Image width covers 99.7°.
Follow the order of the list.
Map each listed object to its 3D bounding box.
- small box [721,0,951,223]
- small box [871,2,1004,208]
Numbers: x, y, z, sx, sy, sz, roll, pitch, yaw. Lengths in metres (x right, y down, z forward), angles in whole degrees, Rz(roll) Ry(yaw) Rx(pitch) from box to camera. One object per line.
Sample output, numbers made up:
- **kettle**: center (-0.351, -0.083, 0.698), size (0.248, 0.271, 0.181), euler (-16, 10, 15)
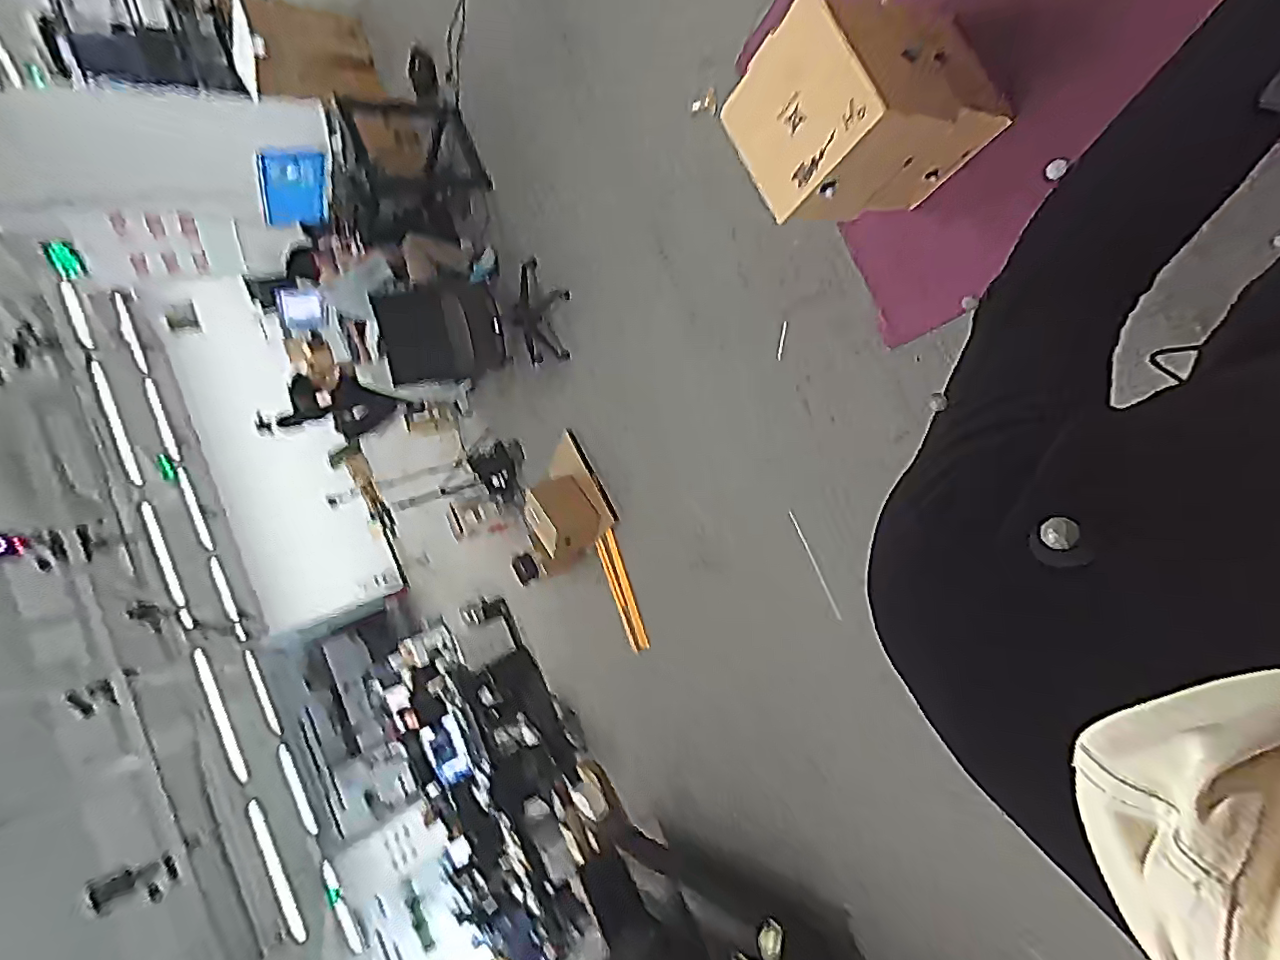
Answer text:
- **small box**: center (0.239, -0.446, 0.671), size (0.168, 0.176, 0.179), euler (-36, 77, 57)
- **small box**: center (0.363, -0.507, 0.762), size (0.168, 0.176, 0.179), euler (-39, 75, 55)
